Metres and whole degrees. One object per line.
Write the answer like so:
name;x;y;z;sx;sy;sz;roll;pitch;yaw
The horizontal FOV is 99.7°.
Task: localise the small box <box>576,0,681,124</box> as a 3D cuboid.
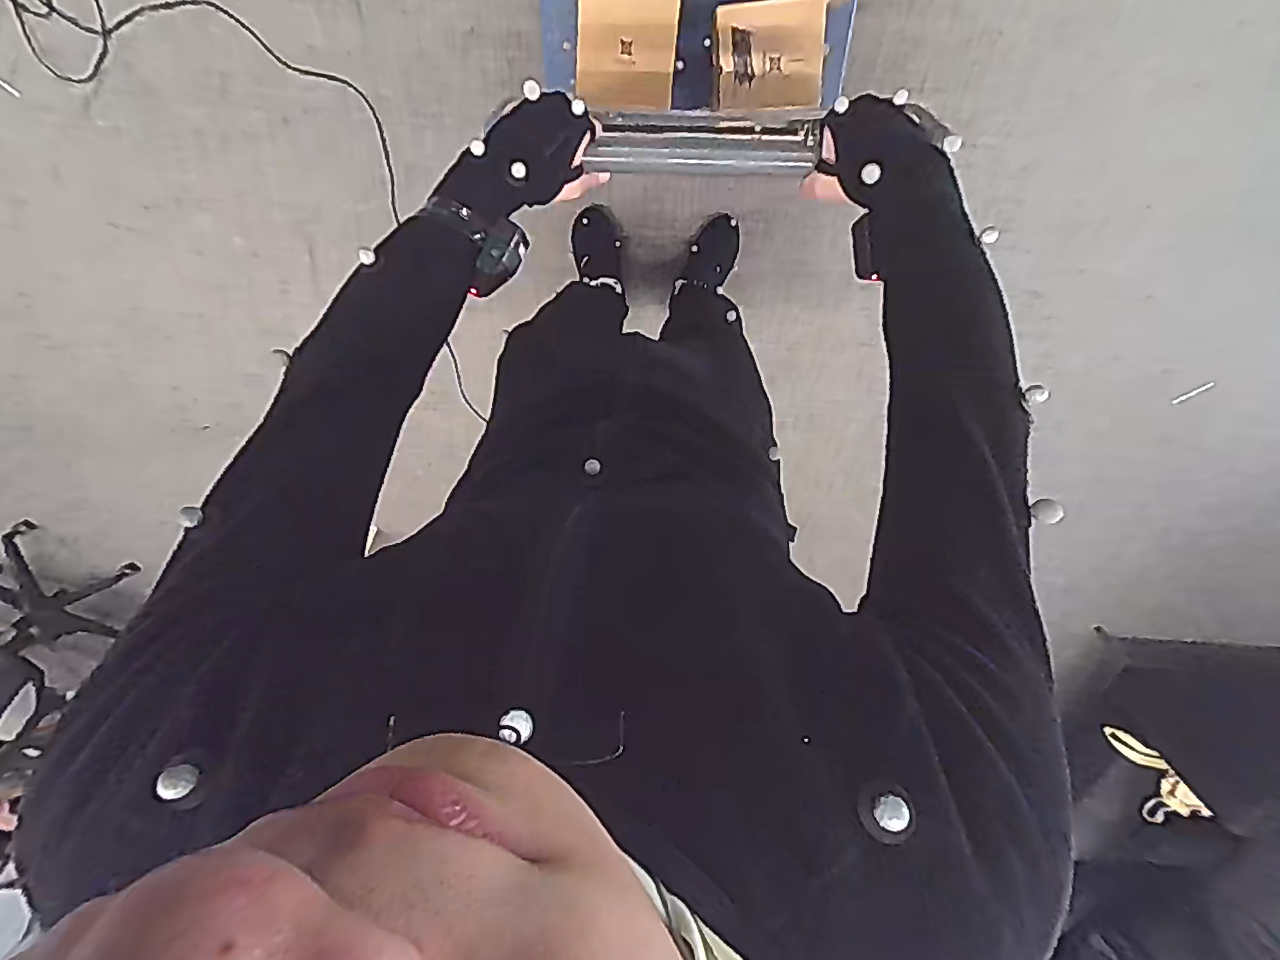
small box;-0.022;-0.753;0.971;0.168;0.176;0.179;5;124;-1
